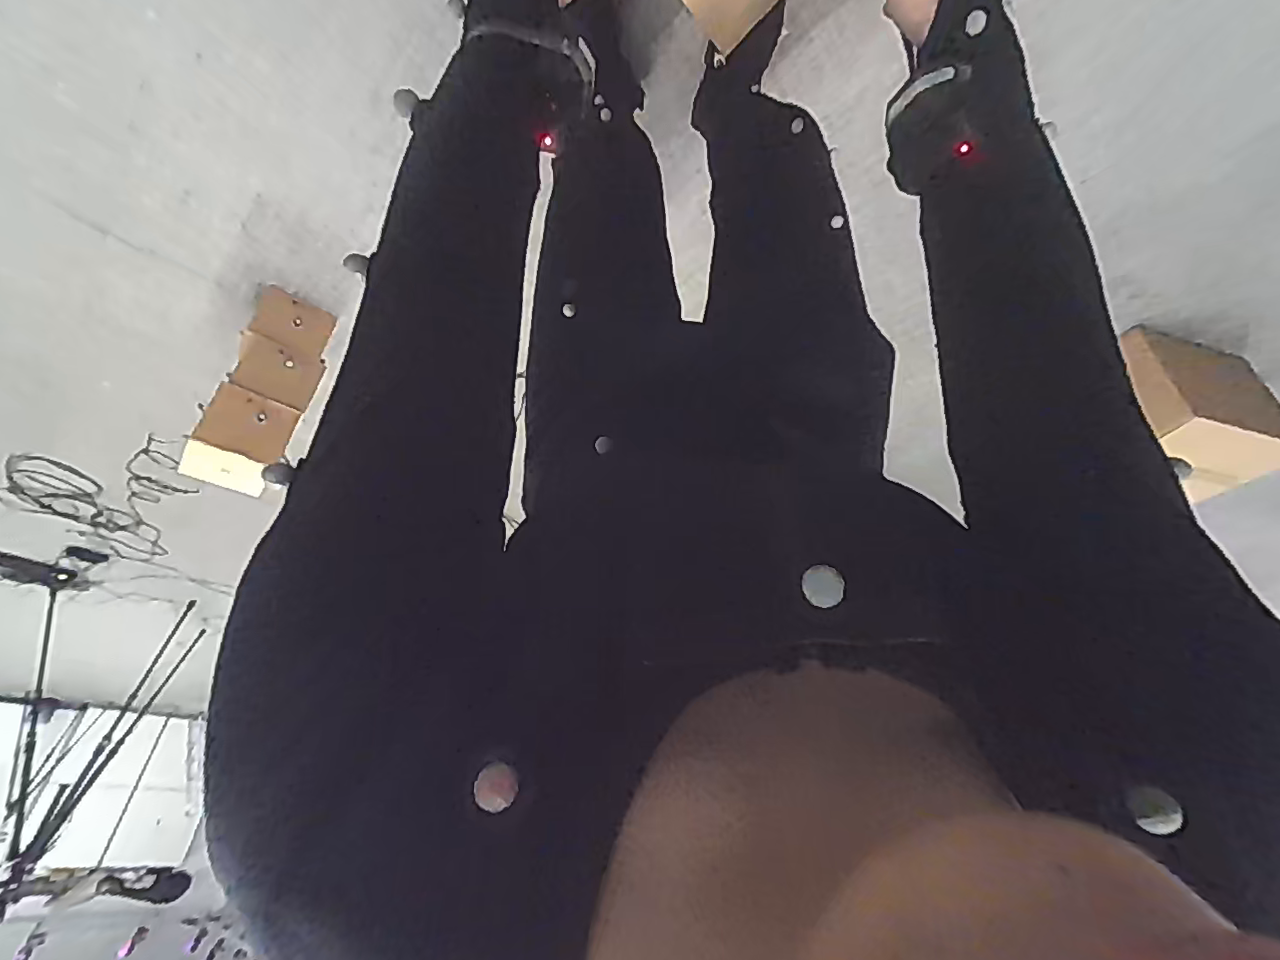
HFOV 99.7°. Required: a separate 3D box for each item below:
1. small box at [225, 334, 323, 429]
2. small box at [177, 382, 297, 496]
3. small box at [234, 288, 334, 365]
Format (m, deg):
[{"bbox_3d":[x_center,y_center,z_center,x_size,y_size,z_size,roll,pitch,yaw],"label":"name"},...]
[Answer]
[{"bbox_3d":[-0.925,-0.225,1.350,0.168,0.176,0.179,27,138,-35],"label":"small box"},{"bbox_3d":[-0.930,-0.093,1.256,0.168,0.176,0.179,27,139,-34],"label":"small box"},{"bbox_3d":[-0.936,-0.368,1.431,0.168,0.176,0.179,26,141,-31],"label":"small box"}]
